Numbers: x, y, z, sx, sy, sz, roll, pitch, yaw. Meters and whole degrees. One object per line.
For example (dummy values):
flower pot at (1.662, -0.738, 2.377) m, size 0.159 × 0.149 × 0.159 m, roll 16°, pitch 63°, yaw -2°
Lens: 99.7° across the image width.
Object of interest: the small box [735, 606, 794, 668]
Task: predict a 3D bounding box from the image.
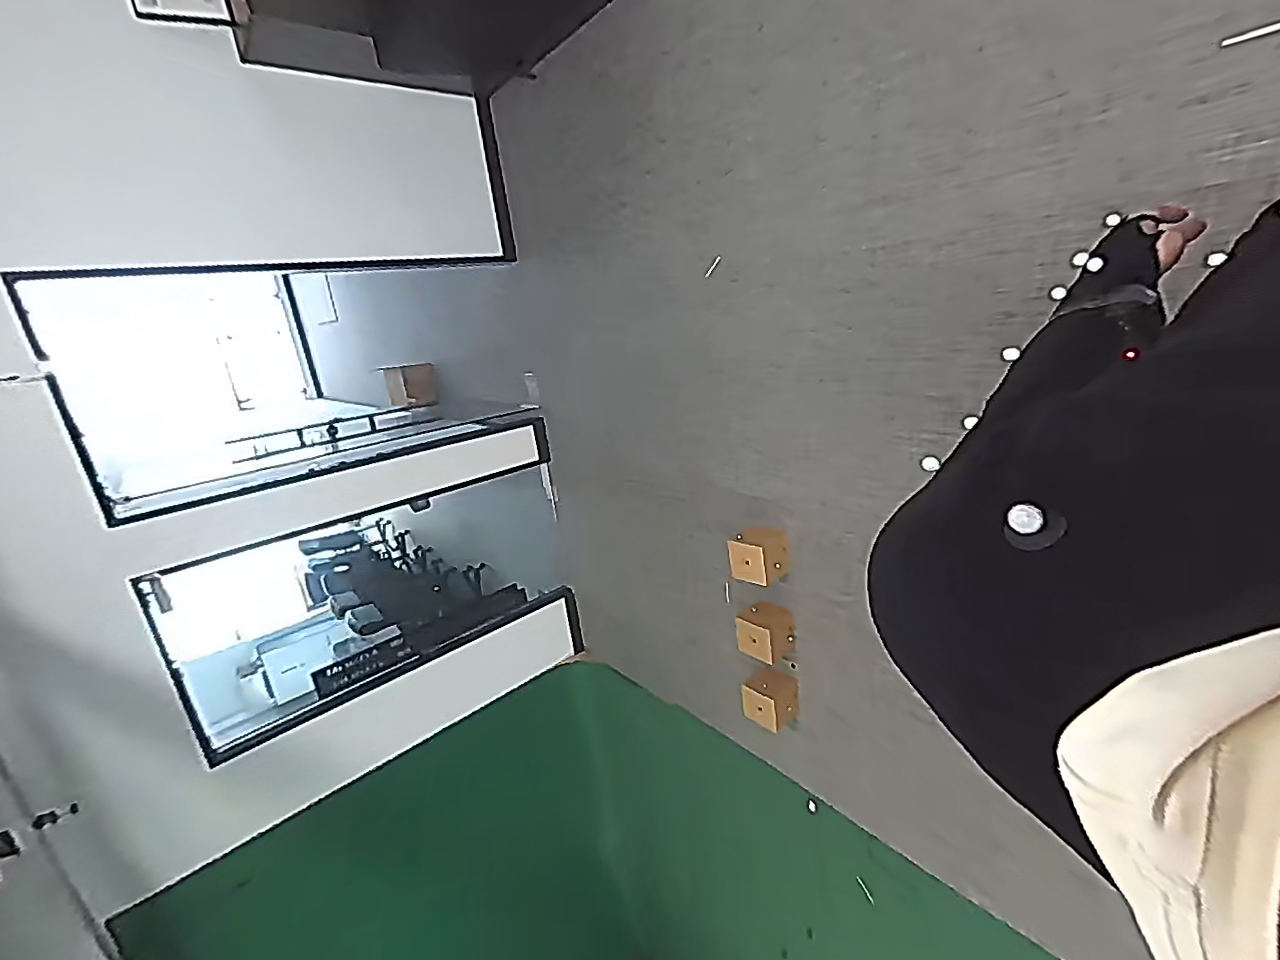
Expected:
small box at (0.522, 0.647, 2.263) m, size 0.179 × 0.176 × 0.168 m, roll 12°, pitch 115°, yaw 49°

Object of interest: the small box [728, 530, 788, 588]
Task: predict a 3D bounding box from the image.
small box at (0.479, 0.312, 2.170) m, size 0.179 × 0.176 × 0.168 m, roll 8°, pitch 111°, yaw 51°

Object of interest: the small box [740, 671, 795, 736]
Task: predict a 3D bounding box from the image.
small box at (0.561, 0.961, 2.348) m, size 0.179 × 0.176 × 0.168 m, roll 12°, pitch 114°, yaw 50°
